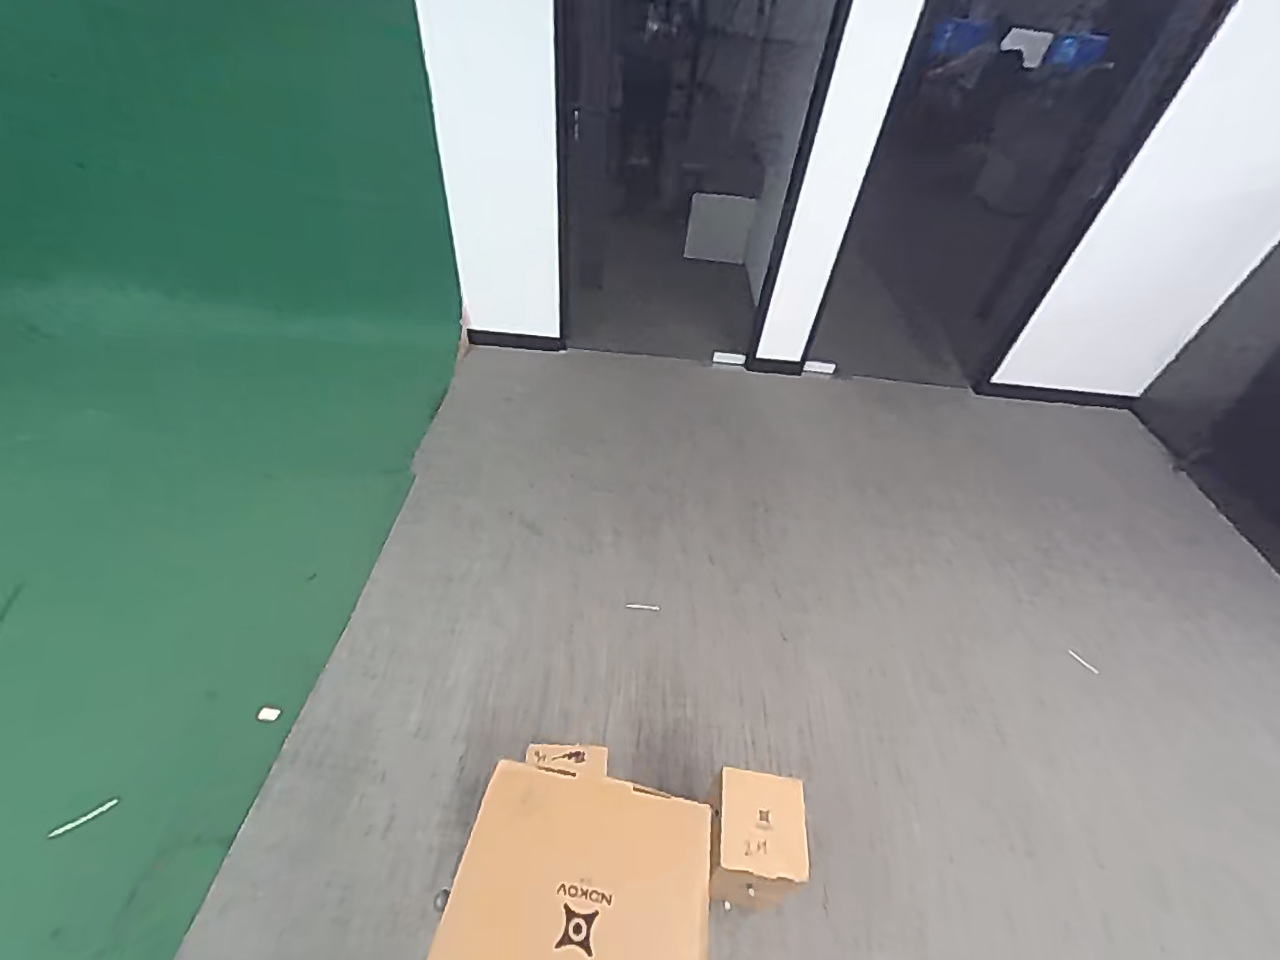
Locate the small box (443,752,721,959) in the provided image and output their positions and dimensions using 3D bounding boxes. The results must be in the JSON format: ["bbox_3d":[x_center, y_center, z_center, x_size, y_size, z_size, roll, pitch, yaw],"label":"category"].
[{"bbox_3d":[-0.046,0.337,0.387,0.168,0.176,0.179,13,36,0],"label":"small box"}]

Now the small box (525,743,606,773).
[{"bbox_3d":[-0.158,0.656,1.097,0.168,0.176,0.179,4,46,-3],"label":"small box"}]

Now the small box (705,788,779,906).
[{"bbox_3d":[0.207,0.824,1.212,0.168,0.176,0.179,11,46,3],"label":"small box"}]

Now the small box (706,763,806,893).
[{"bbox_3d":[0.226,0.707,1.097,0.168,0.176,0.179,9,46,2],"label":"small box"}]
